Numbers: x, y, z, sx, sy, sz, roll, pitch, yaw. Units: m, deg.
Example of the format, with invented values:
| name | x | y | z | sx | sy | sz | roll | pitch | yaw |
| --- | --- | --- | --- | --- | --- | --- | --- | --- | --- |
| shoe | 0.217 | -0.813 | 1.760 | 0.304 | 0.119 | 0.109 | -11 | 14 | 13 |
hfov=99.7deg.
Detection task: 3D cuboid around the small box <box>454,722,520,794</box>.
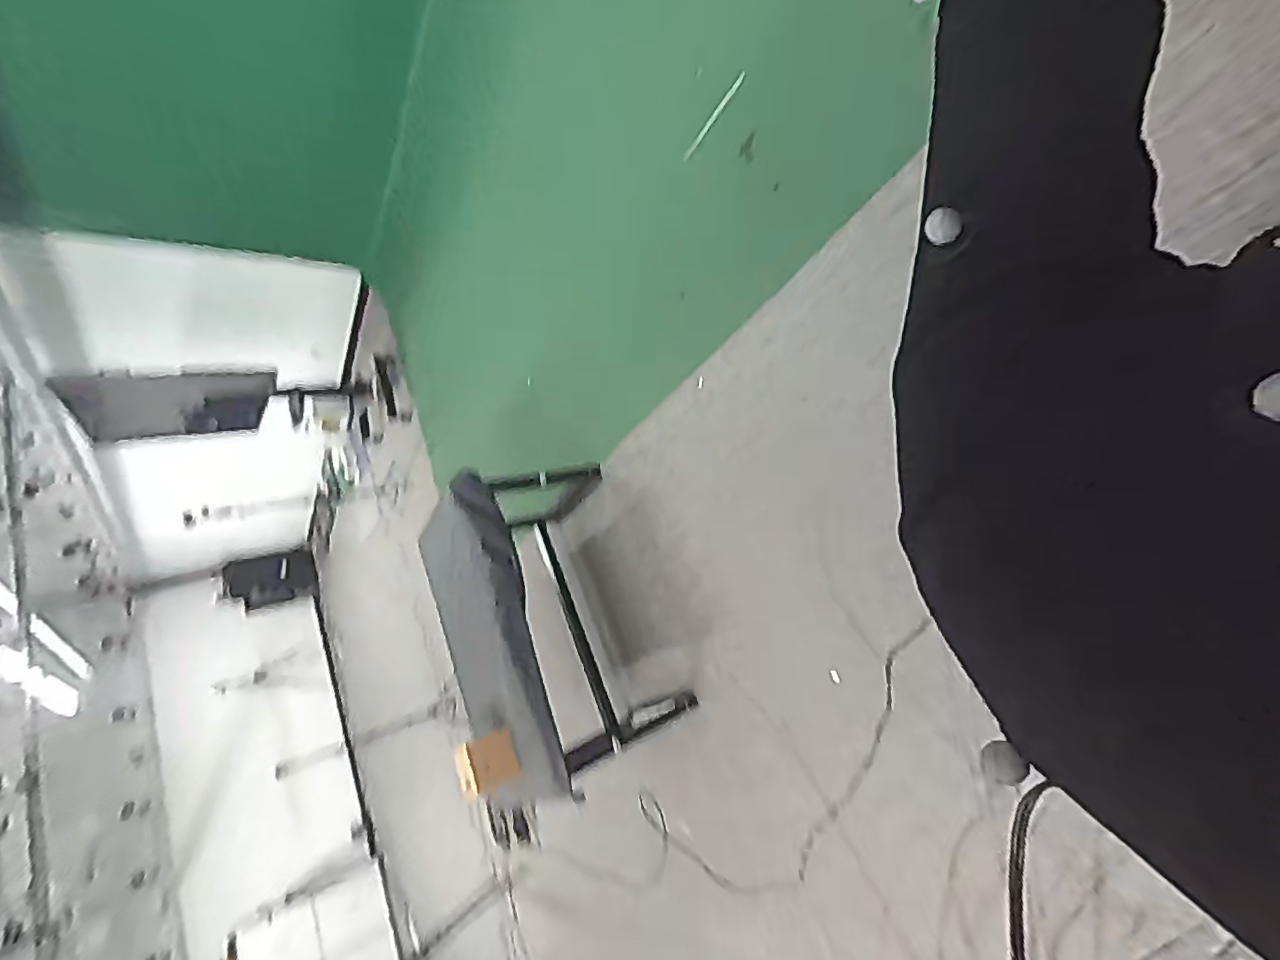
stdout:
| name | x | y | z | sx | sy | sz | roll | pitch | yaw |
| --- | --- | --- | --- | --- | --- | --- | --- | --- | --- |
| small box | -0.562 | 1.027 | 1.998 | 0.168 | 0.176 | 0.179 | -44 | 63 | 45 |
